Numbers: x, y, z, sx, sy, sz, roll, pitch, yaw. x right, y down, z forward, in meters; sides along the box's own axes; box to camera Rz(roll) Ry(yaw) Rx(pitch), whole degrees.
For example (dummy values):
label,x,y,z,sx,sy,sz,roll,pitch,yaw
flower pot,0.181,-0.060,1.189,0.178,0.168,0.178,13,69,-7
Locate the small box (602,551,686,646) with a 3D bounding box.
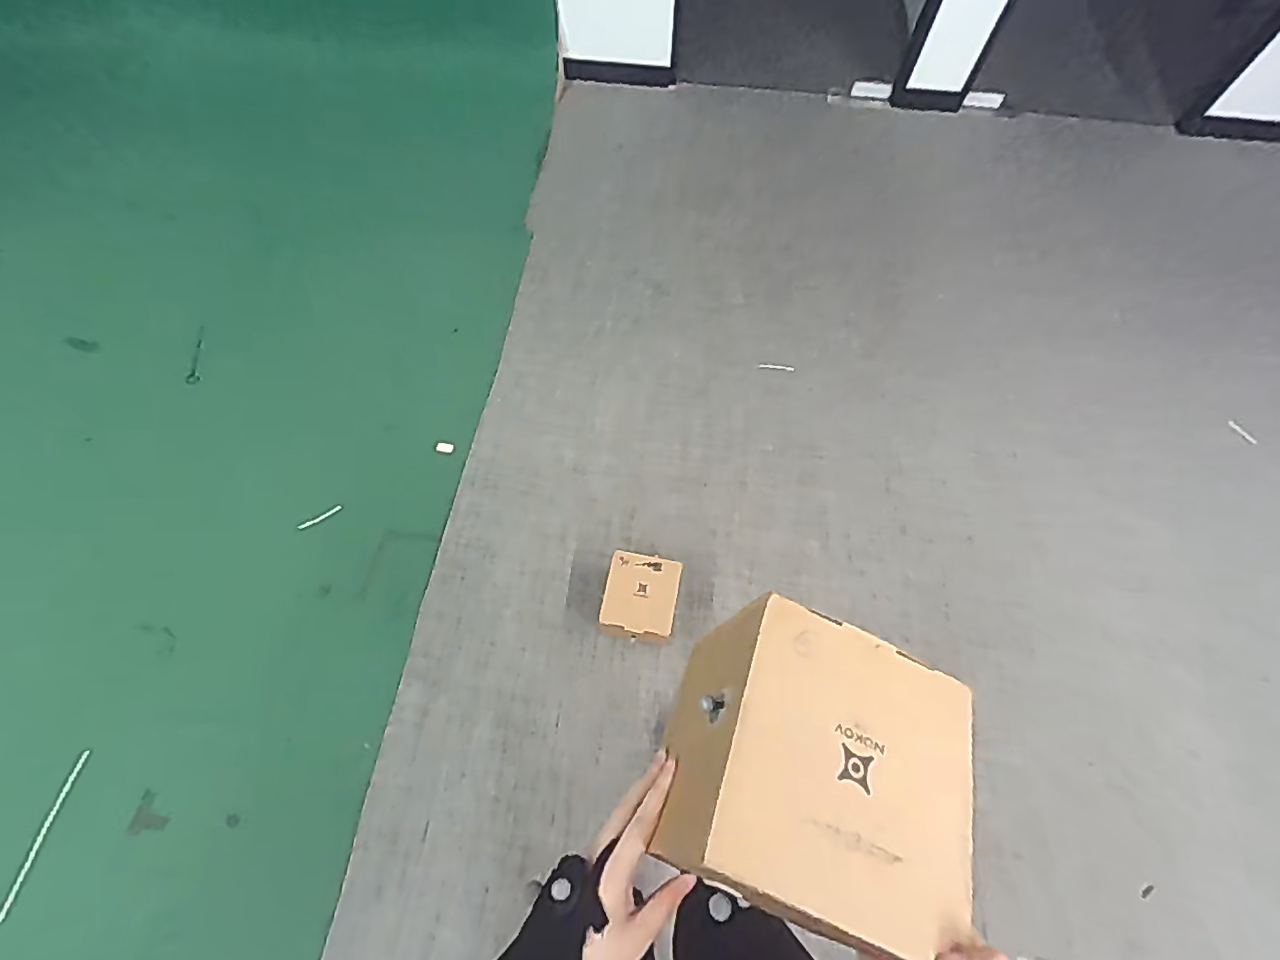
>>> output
label,x,y,z,sx,sy,sz,roll,pitch,yaw
small box,0.013,0.290,1.301,0.168,0.176,0.179,10,66,5
